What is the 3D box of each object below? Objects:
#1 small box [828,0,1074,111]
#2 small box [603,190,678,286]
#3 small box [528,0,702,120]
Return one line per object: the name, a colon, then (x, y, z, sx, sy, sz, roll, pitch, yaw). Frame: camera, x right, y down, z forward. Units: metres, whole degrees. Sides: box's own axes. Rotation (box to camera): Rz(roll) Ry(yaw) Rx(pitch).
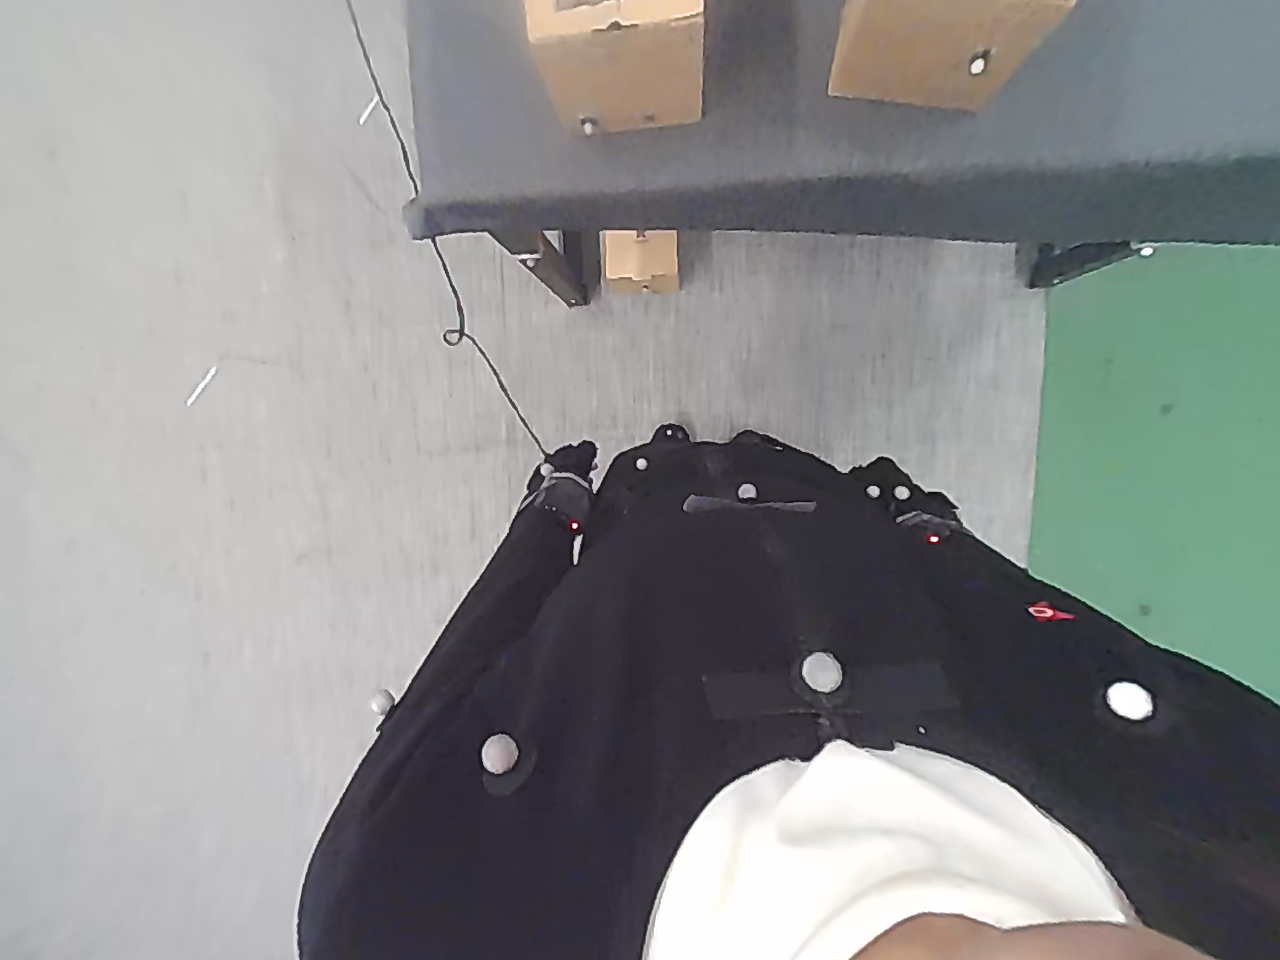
small box: (0.311, -0.509, 0.544, 0.179, 0.176, 0.168, 10, 96, 5)
small box: (0.006, -0.572, 1.300, 0.168, 0.176, 0.179, 0, 97, 5)
small box: (-0.018, -0.511, 0.570, 0.168, 0.176, 0.179, -2, 95, 5)
